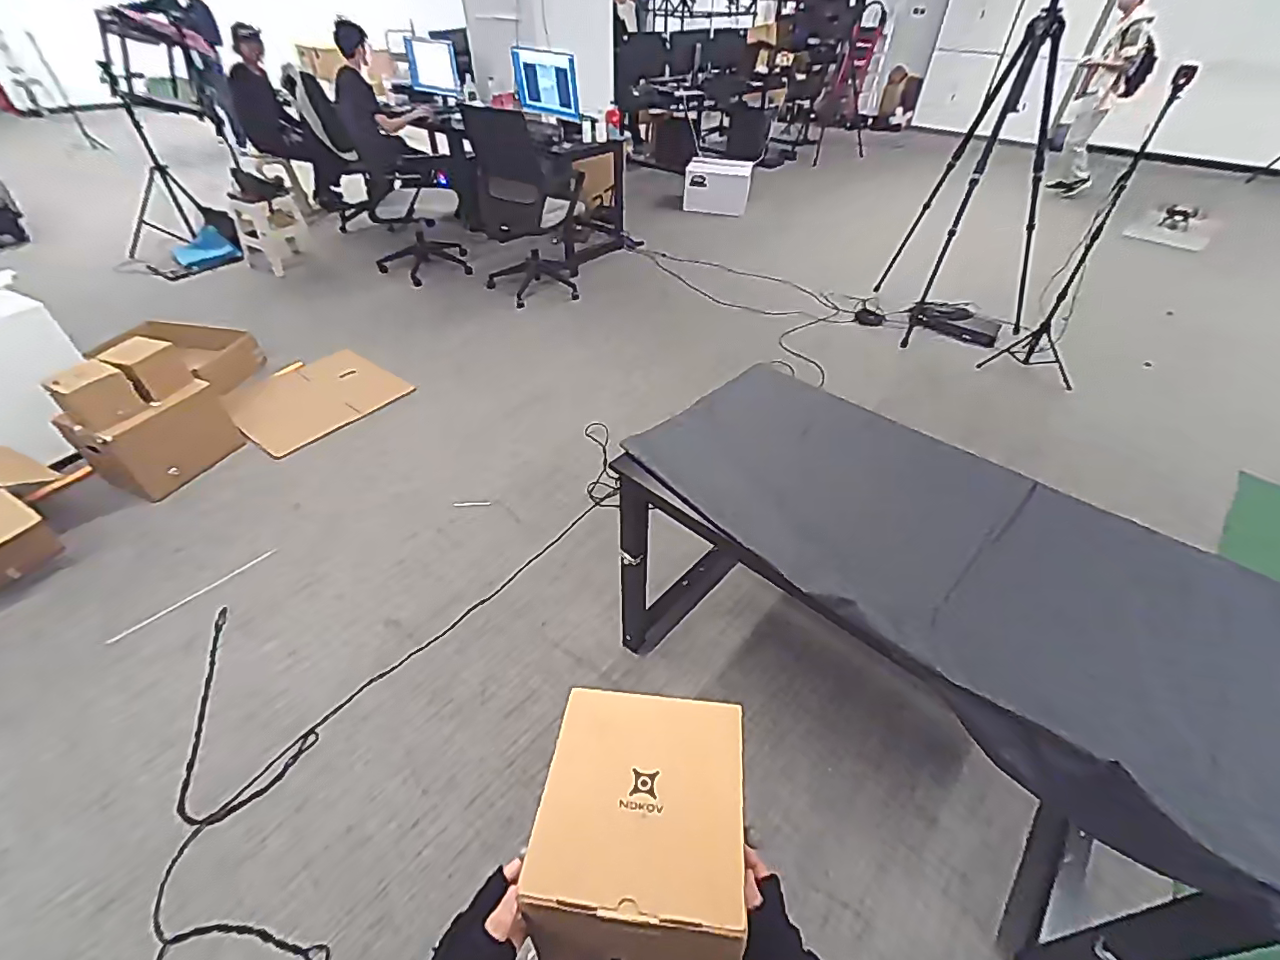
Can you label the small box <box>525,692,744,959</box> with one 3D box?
[{"bbox_3d":[0.006,0.332,0.504,0.168,0.176,0.179,3,36,7],"label":"small box"}]
